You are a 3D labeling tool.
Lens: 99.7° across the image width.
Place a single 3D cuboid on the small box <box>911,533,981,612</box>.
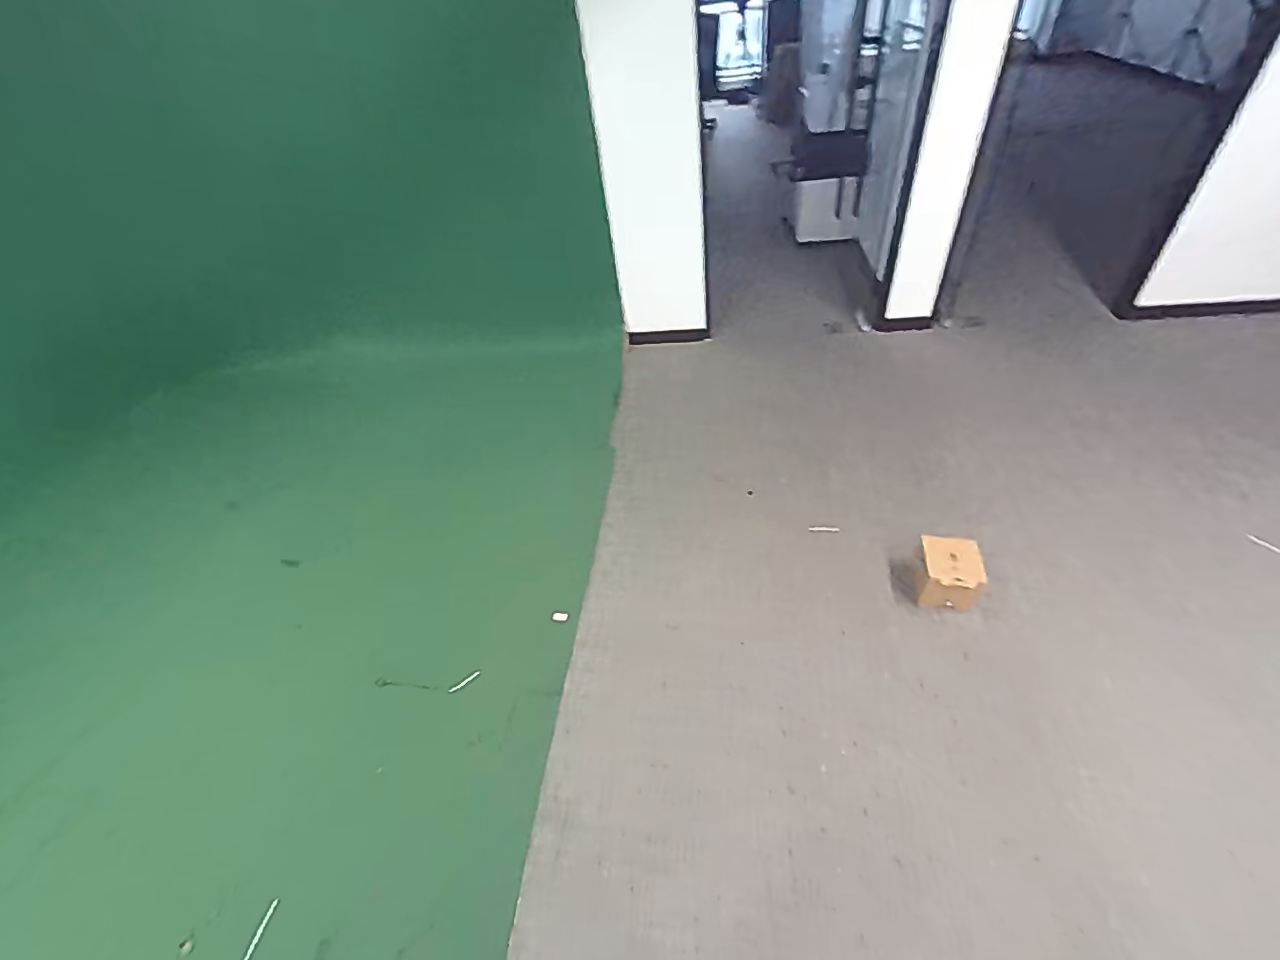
[{"bbox_3d":[0.992,0.302,1.767,0.168,0.176,0.179,7,48,19],"label":"small box"}]
